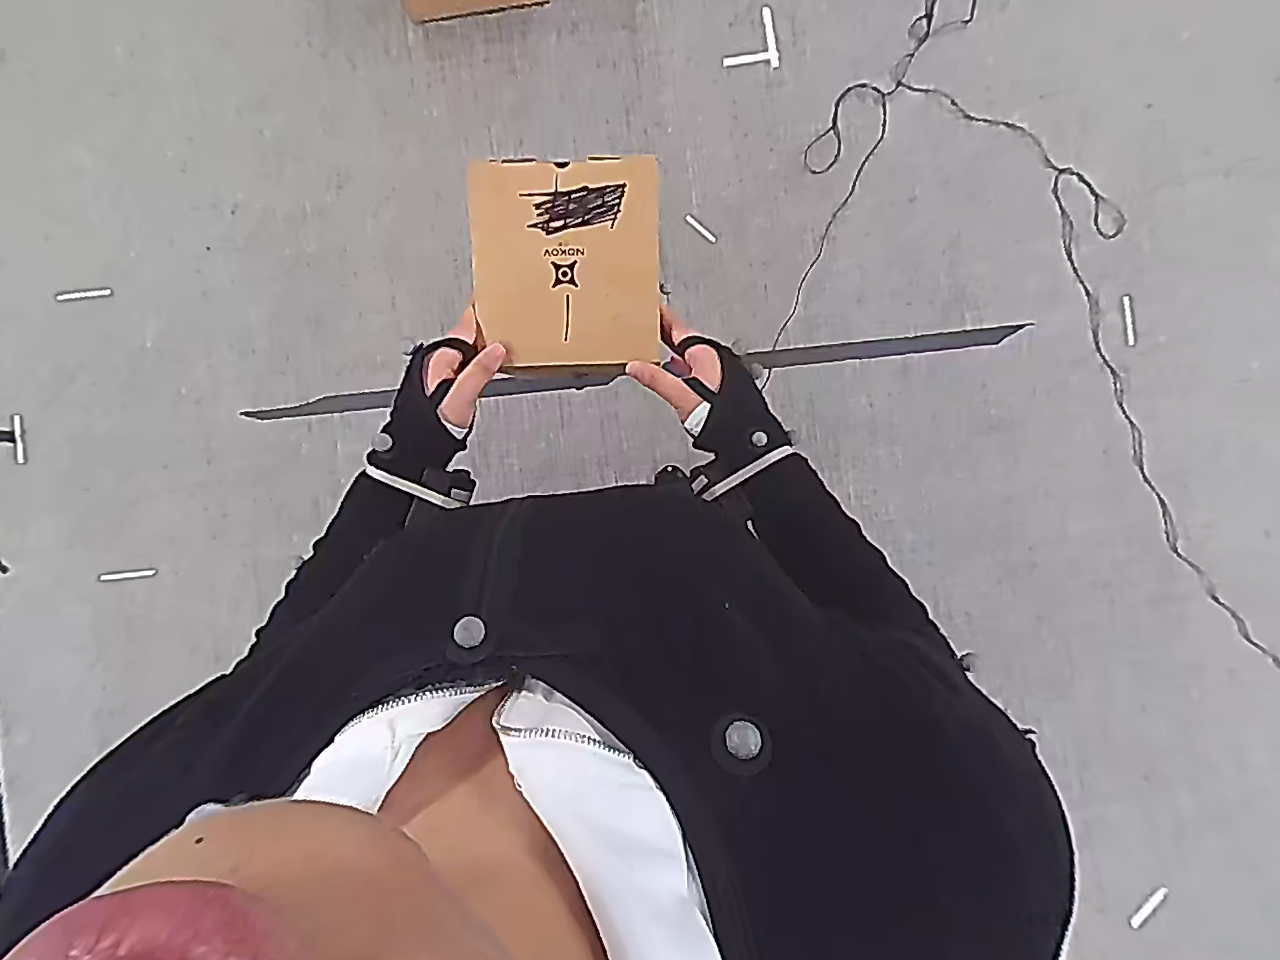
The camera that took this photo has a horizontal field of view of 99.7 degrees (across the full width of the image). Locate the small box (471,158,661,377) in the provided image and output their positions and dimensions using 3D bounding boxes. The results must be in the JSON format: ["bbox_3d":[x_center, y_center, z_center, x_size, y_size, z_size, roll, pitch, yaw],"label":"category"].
[{"bbox_3d":[-0.065,-0.201,0.556,0.168,0.176,0.179,-1,98,0],"label":"small box"}]
